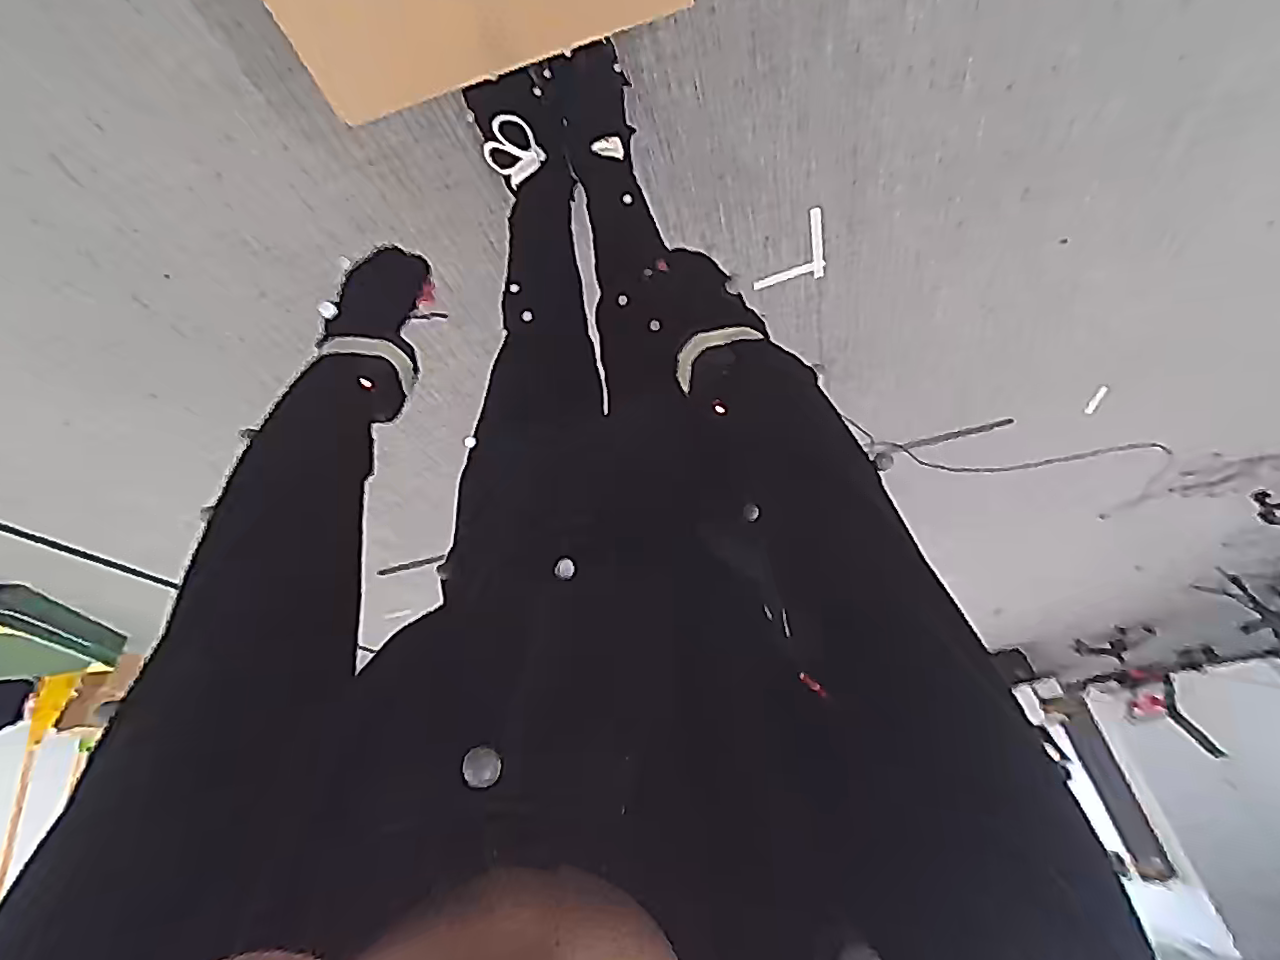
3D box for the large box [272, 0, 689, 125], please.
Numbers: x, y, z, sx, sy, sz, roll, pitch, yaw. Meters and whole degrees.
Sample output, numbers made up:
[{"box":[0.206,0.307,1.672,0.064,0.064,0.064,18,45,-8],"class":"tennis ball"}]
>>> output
[{"box":[-0.189,-0.646,0.538,0.408,0.320,0.320,-13,148,8],"class":"large box"}]
